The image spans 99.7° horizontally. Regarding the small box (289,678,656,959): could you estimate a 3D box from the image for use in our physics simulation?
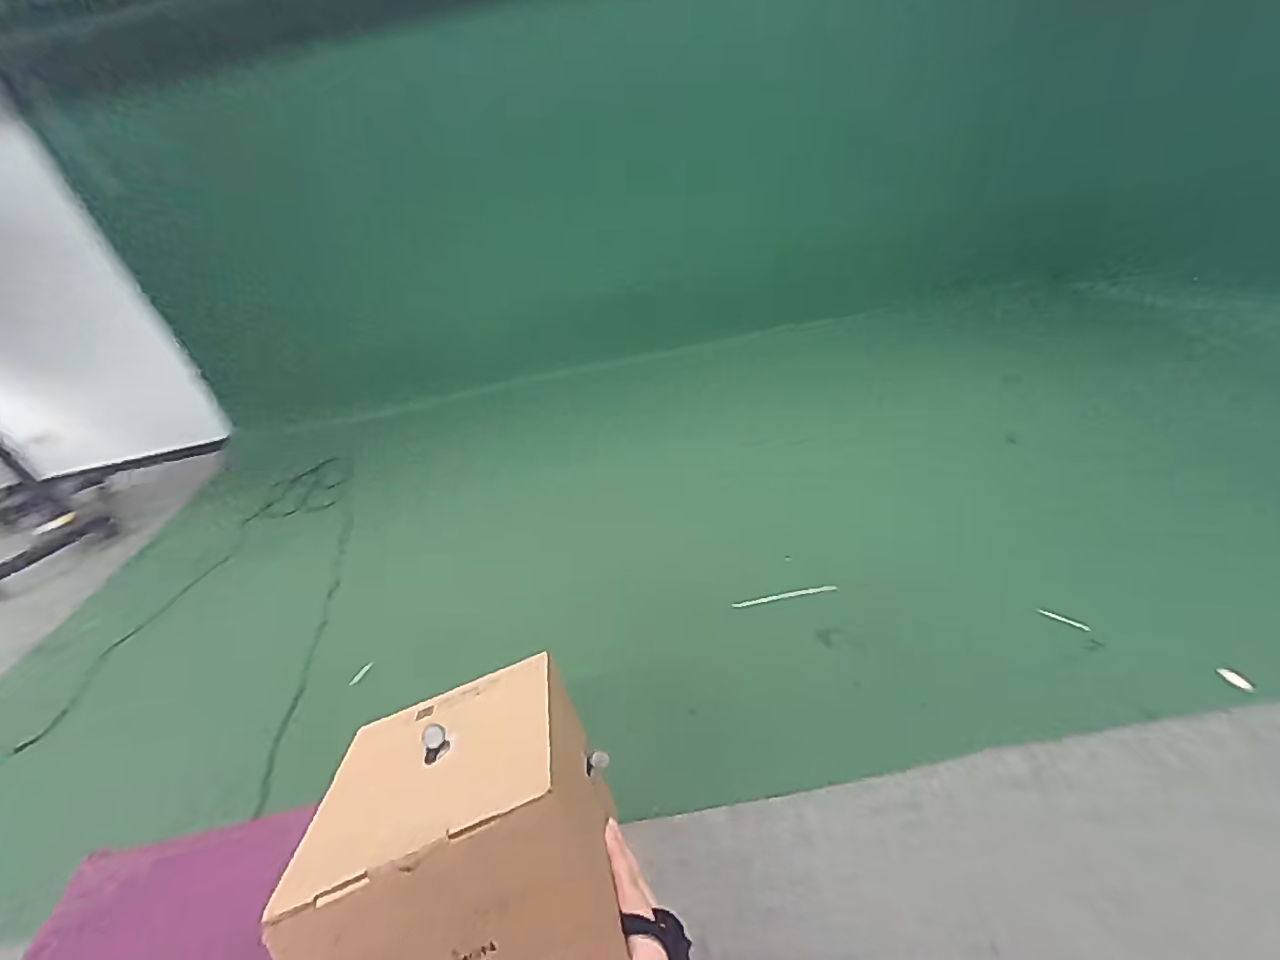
[{"bbox_3d":[-0.100,0.271,0.391,0.168,0.179,0.176,-21,12,-5],"label":"small box"}]
